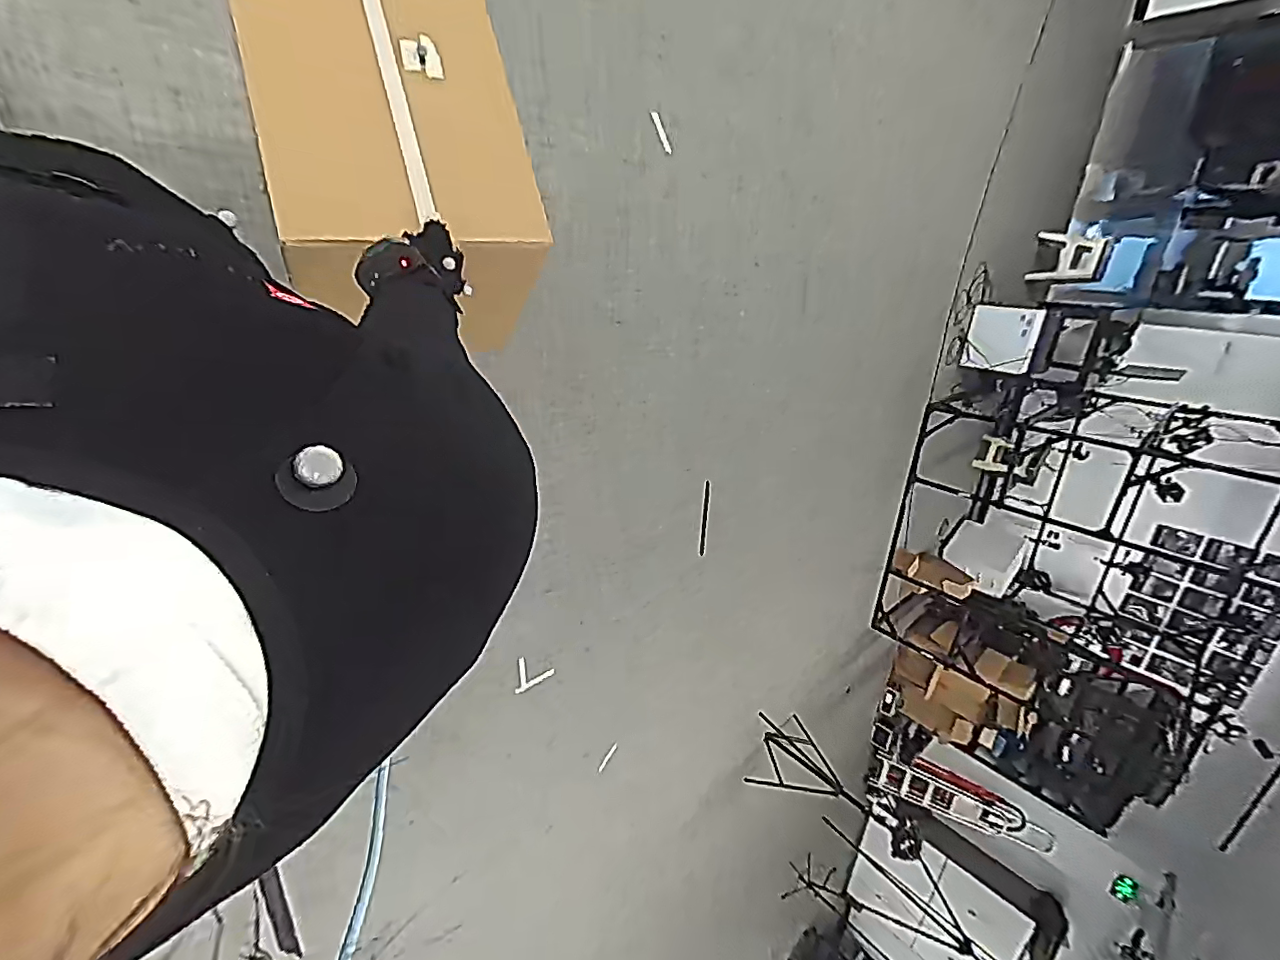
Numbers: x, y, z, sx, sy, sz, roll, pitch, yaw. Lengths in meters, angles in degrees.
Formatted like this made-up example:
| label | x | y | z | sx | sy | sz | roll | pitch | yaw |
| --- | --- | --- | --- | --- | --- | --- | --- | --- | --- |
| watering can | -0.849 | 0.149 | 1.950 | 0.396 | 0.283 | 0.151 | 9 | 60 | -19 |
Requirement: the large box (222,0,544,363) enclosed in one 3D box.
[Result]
| label | x | y | z | sx | sy | sz | roll | pitch | yaw |
| --- | --- | --- | --- | --- | --- | --- | --- | --- | --- |
| large box | -0.381 | -0.438 | 0.821 | 0.320 | 0.320 | 0.408 | -13 | 80 | -29 |
